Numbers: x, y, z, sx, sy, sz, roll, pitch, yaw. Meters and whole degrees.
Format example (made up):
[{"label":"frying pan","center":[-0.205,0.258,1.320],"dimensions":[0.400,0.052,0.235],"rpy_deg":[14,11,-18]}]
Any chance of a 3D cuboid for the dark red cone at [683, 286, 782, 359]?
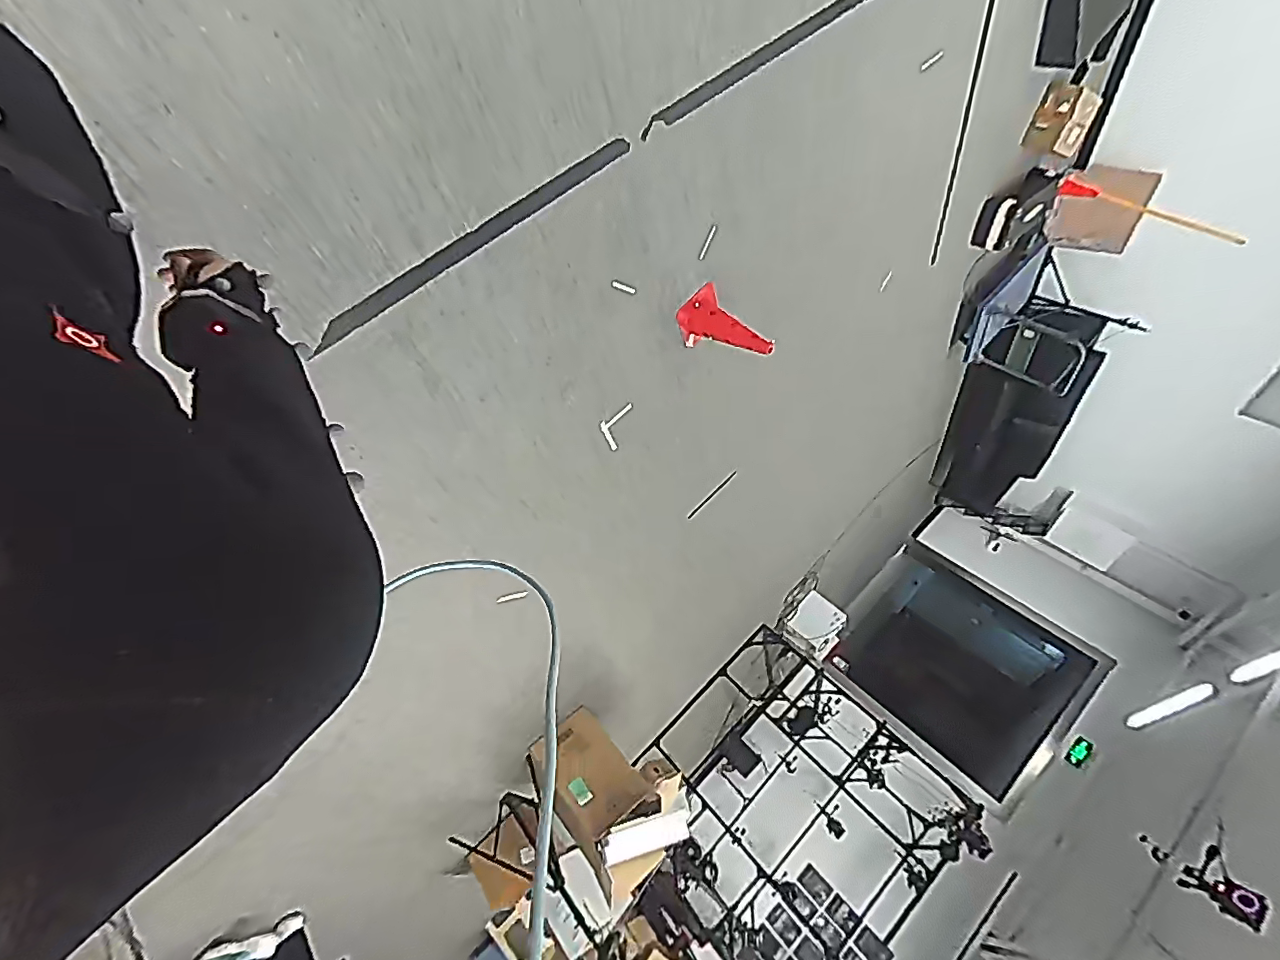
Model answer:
[{"label":"dark red cone","center":[0.357,-0.538,1.987],"dimensions":[0.202,0.394,0.201],"rpy_deg":[-46,145,-9]}]
